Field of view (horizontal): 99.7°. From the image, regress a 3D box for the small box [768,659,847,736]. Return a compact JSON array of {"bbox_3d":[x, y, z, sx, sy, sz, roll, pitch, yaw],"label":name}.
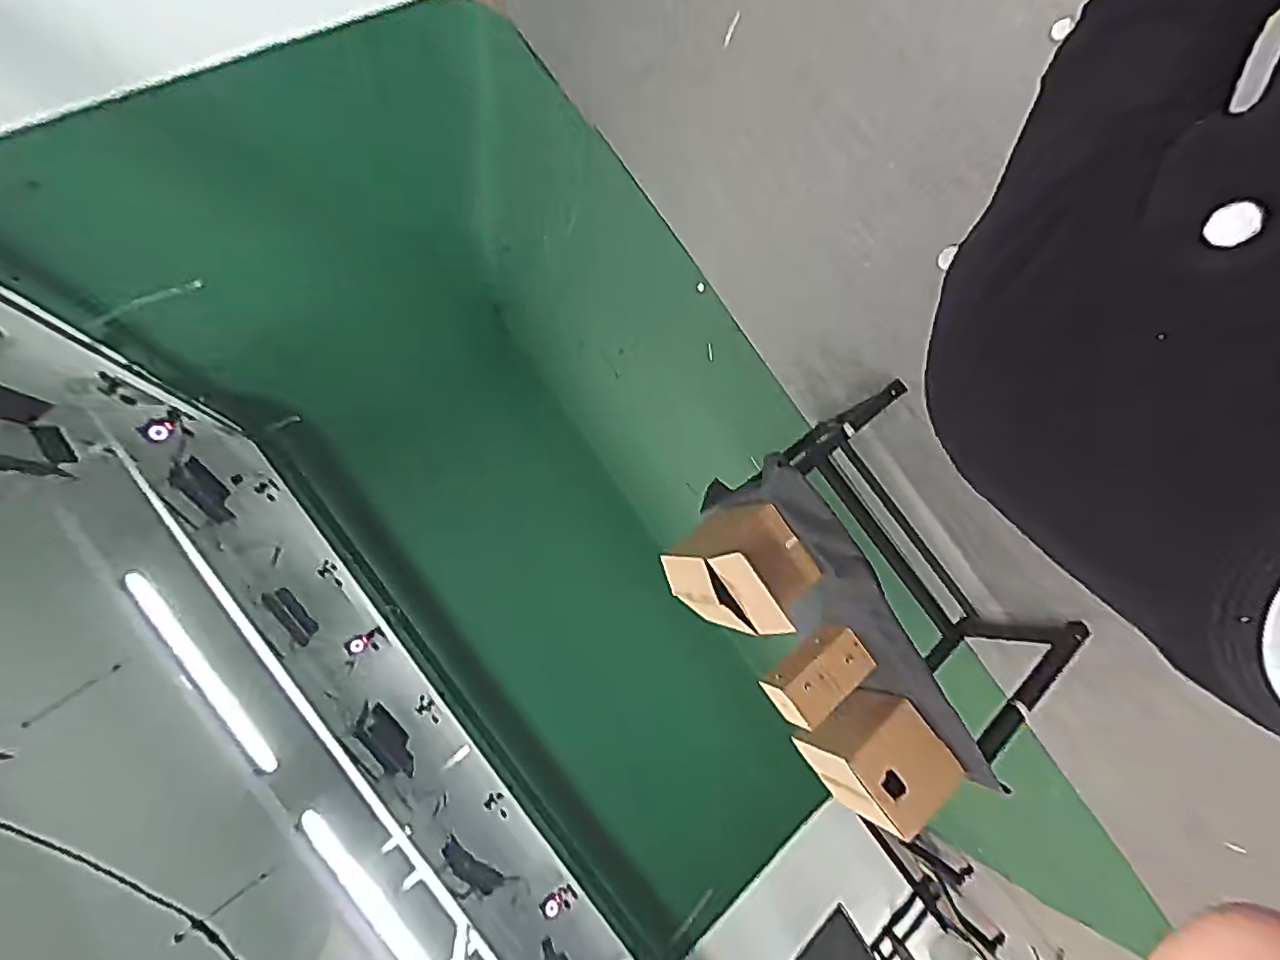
[{"bbox_3d":[0.584,0.744,1.870,0.168,0.176,0.179,54,164,1],"label":"small box"}]
